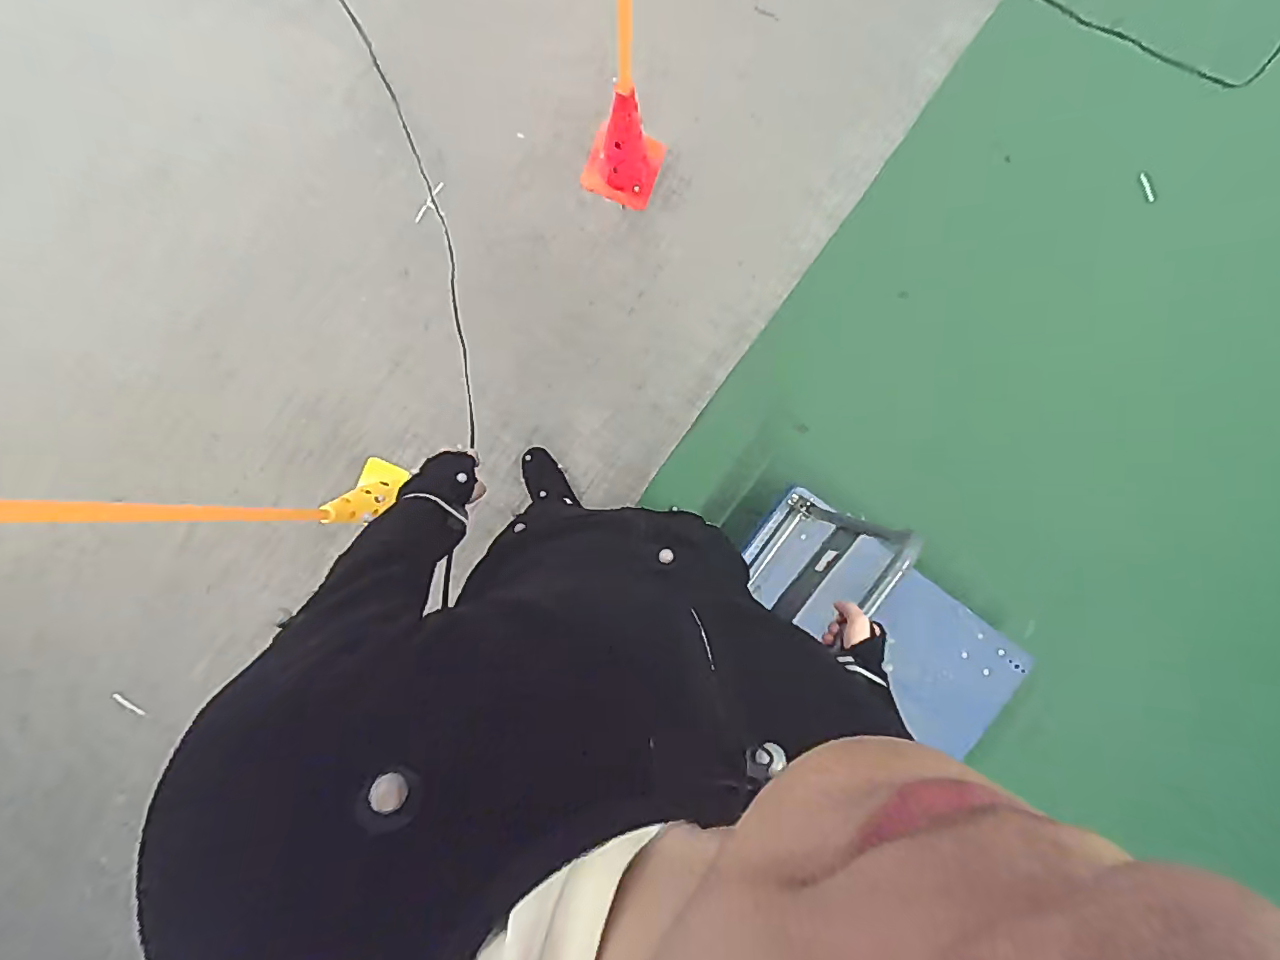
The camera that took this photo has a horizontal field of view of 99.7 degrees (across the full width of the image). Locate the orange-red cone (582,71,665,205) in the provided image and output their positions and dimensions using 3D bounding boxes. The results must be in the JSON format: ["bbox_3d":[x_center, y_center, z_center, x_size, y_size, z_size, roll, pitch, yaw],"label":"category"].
[{"bbox_3d":[-0.038,-0.896,1.366,0.198,0.360,0.199,21,92,-4],"label":"orange-red cone"}]
